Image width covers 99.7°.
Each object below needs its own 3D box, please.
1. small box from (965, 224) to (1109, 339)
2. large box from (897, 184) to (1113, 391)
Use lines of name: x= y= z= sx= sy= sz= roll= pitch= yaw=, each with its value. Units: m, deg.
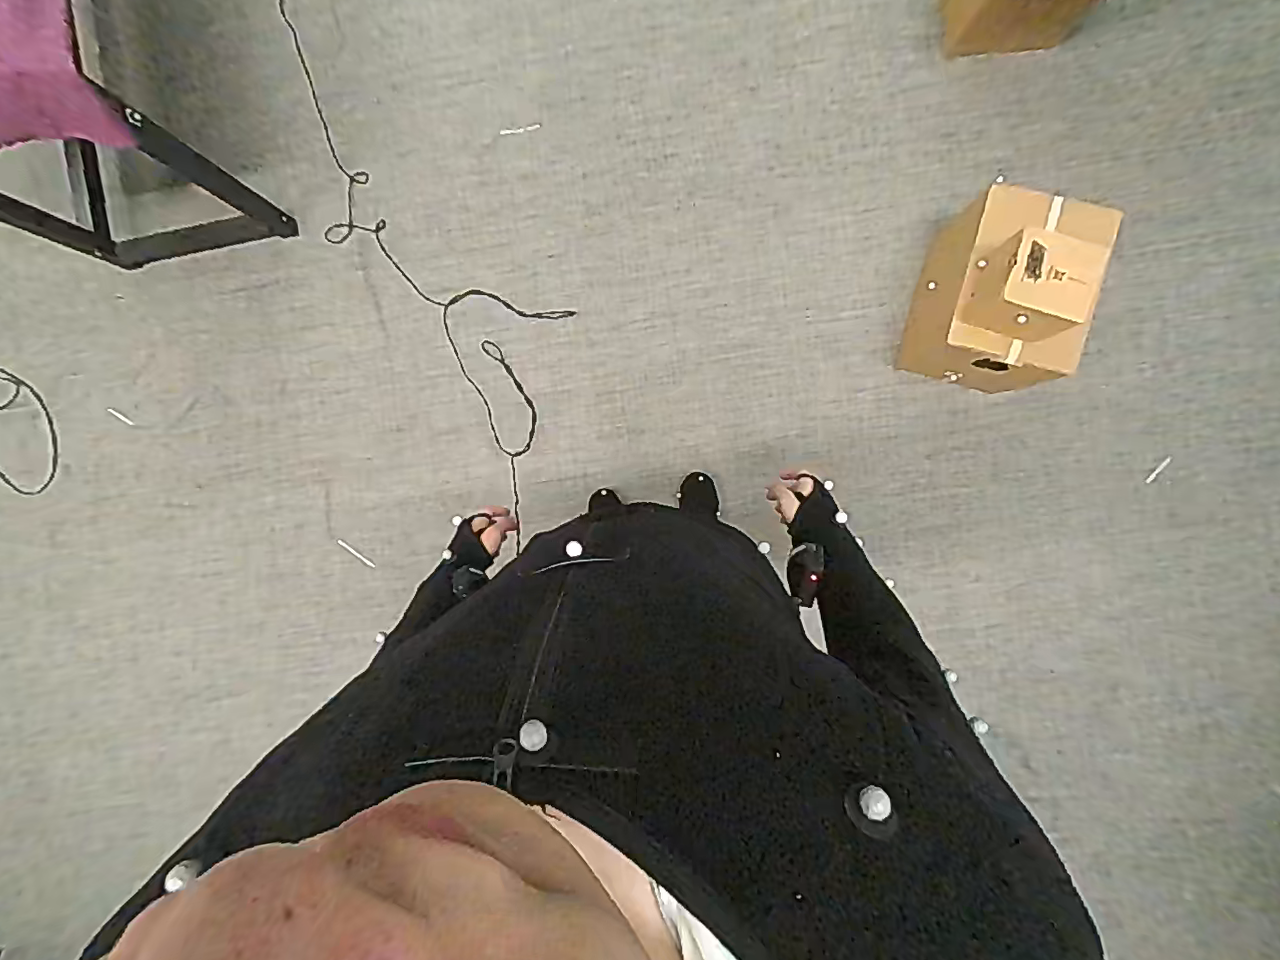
small box: x=0.864 y=-0.429 z=1.198 sx=0.179 sy=0.176 sz=0.168 roll=19 pitch=92 yaw=3
large box: x=0.938 y=-0.483 z=1.440 sx=0.320 sy=0.320 sz=0.408 roll=15 pitch=91 yaw=2
